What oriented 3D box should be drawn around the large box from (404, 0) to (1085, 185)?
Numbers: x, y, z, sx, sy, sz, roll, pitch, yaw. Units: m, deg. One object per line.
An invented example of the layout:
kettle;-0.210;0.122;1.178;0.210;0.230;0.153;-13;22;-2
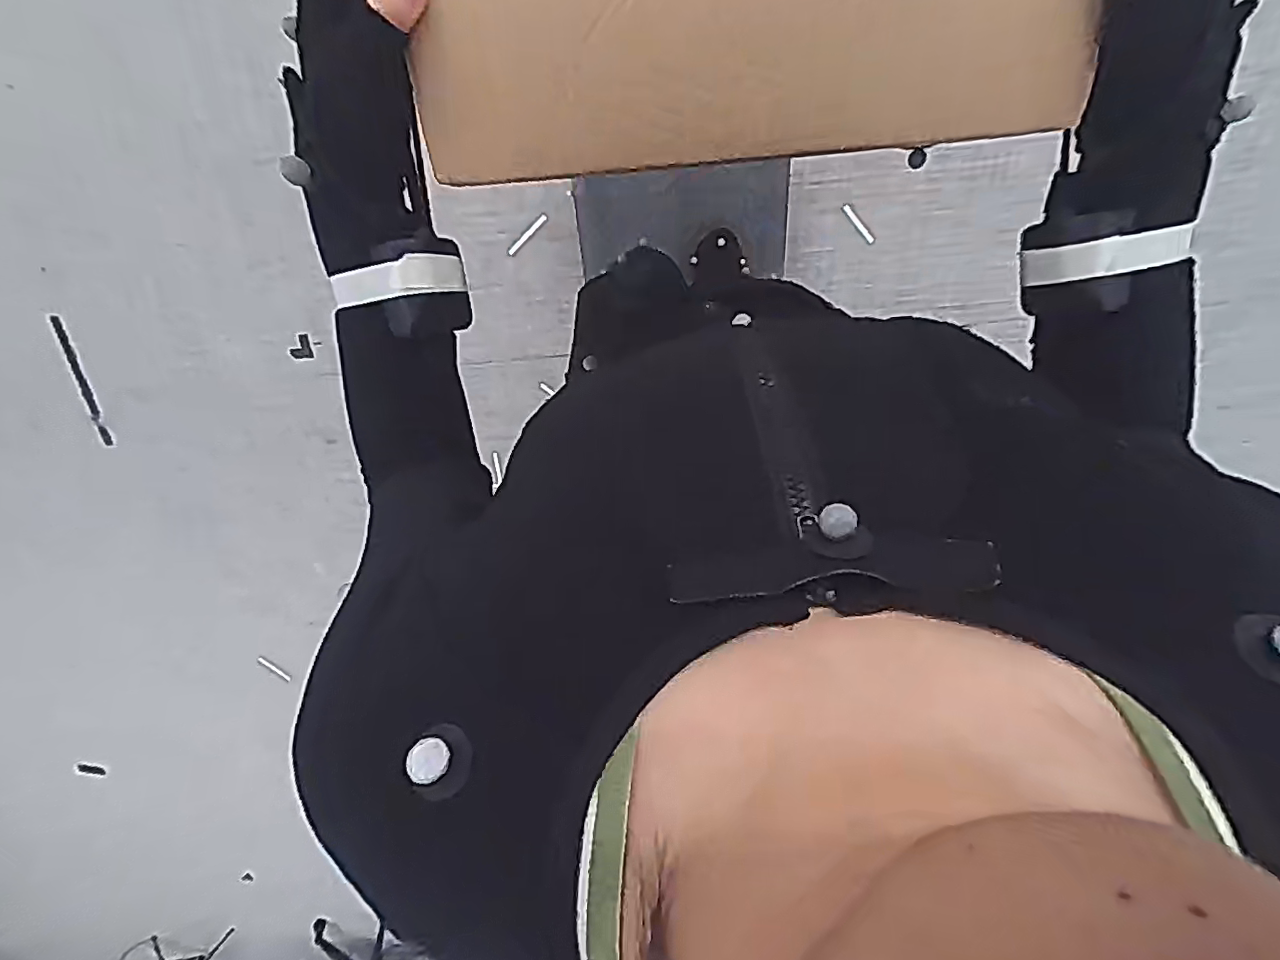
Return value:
large box;0.057;-0.422;0.400;0.408;0.320;0.320;-4;121;3
